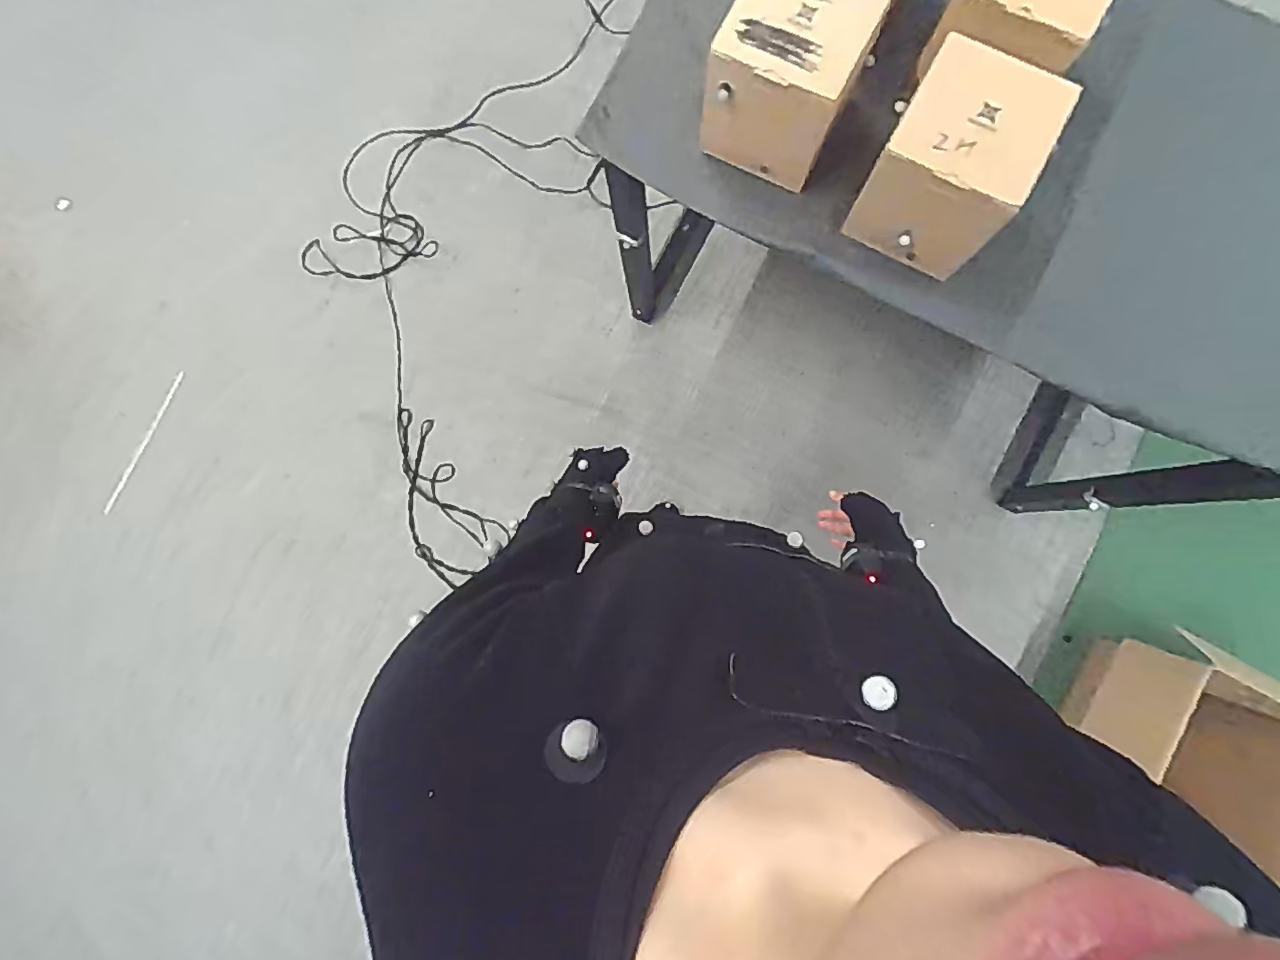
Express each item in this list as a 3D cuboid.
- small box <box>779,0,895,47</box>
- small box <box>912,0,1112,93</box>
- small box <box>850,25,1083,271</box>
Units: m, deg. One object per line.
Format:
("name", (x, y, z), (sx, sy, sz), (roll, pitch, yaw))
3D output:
("small box", (0.301, -0.754, 0.736), (0.168, 0.176, 0.179), (27, 87, 5))
("small box", (0.498, -0.619, 0.716), (0.168, 0.176, 0.179), (30, 88, 5))
("small box", (0.400, -0.412, 0.698), (0.168, 0.176, 0.179), (29, 86, 6))
